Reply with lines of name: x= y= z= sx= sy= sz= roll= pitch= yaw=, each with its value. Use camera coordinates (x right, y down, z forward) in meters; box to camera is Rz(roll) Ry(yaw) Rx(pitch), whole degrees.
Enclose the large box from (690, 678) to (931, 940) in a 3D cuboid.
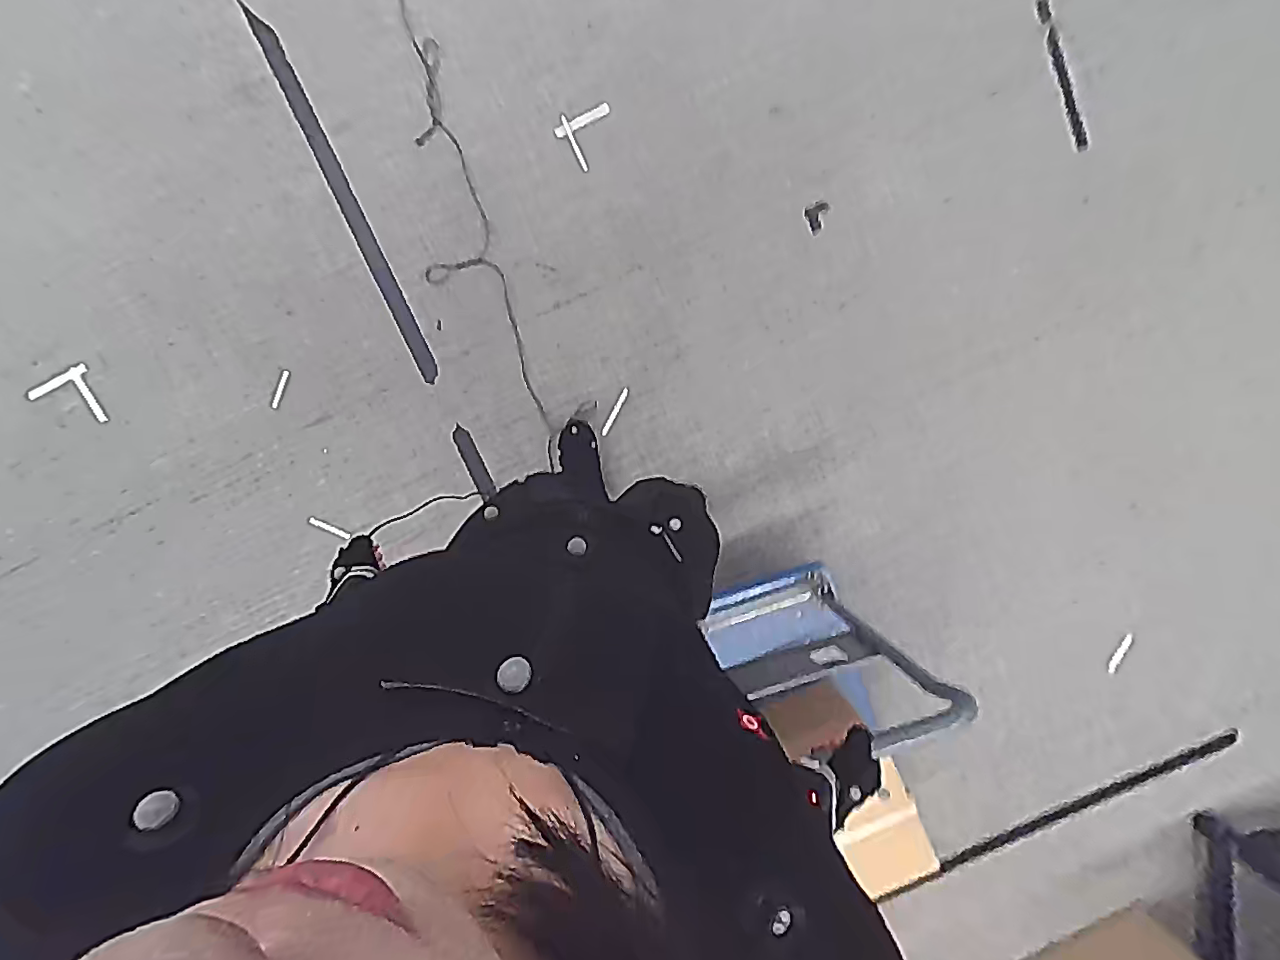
large box: x=0.374 y=0.746 z=1.280 sx=0.408 sy=0.320 sz=0.320 roll=-25 pitch=95 yaw=2
